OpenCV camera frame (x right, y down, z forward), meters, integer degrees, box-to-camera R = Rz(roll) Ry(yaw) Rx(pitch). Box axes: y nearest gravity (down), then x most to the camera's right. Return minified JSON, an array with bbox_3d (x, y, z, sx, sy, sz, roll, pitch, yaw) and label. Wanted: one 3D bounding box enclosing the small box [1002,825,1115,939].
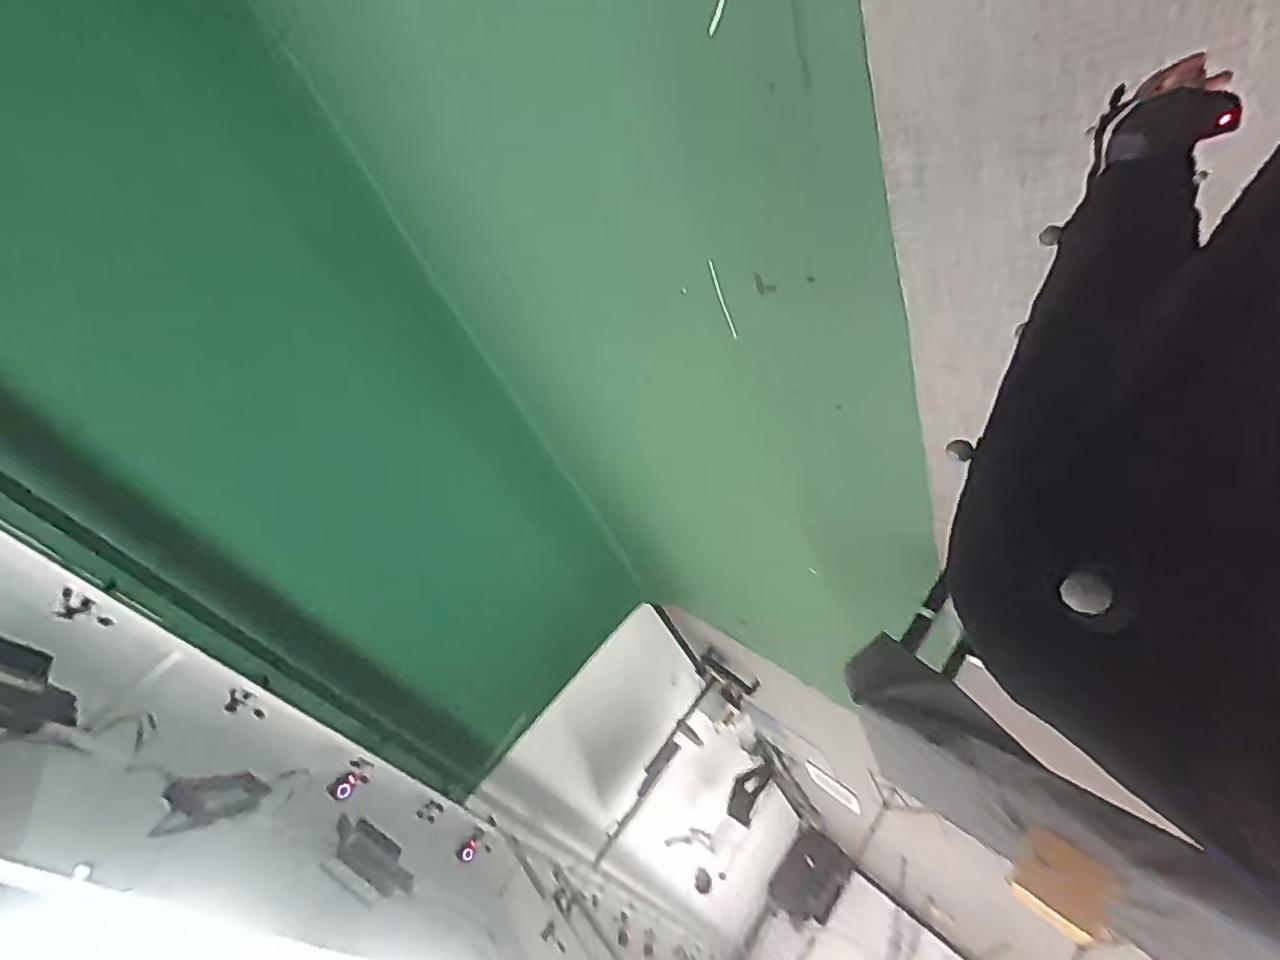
[{"bbox_3d":[1.083,1.036,1.407,0.179,0.176,0.168,25,153,40],"label":"small box"}]
